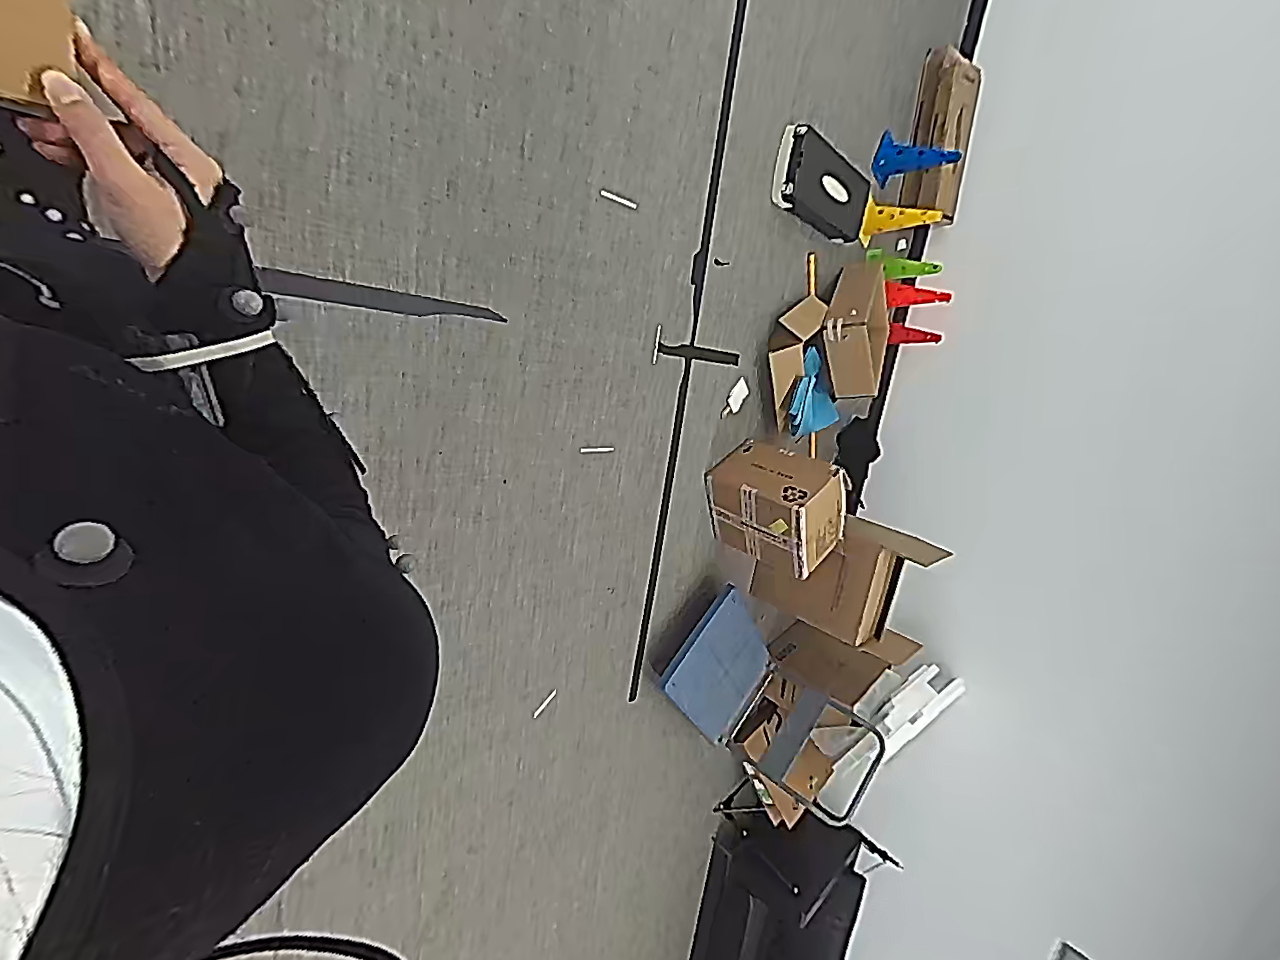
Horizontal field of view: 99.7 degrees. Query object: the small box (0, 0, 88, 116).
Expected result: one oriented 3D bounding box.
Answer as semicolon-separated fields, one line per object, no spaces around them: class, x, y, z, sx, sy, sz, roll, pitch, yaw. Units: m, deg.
small box;-0.382;-0.301;0.251;0.168;0.176;0.179;-4;115;-46
